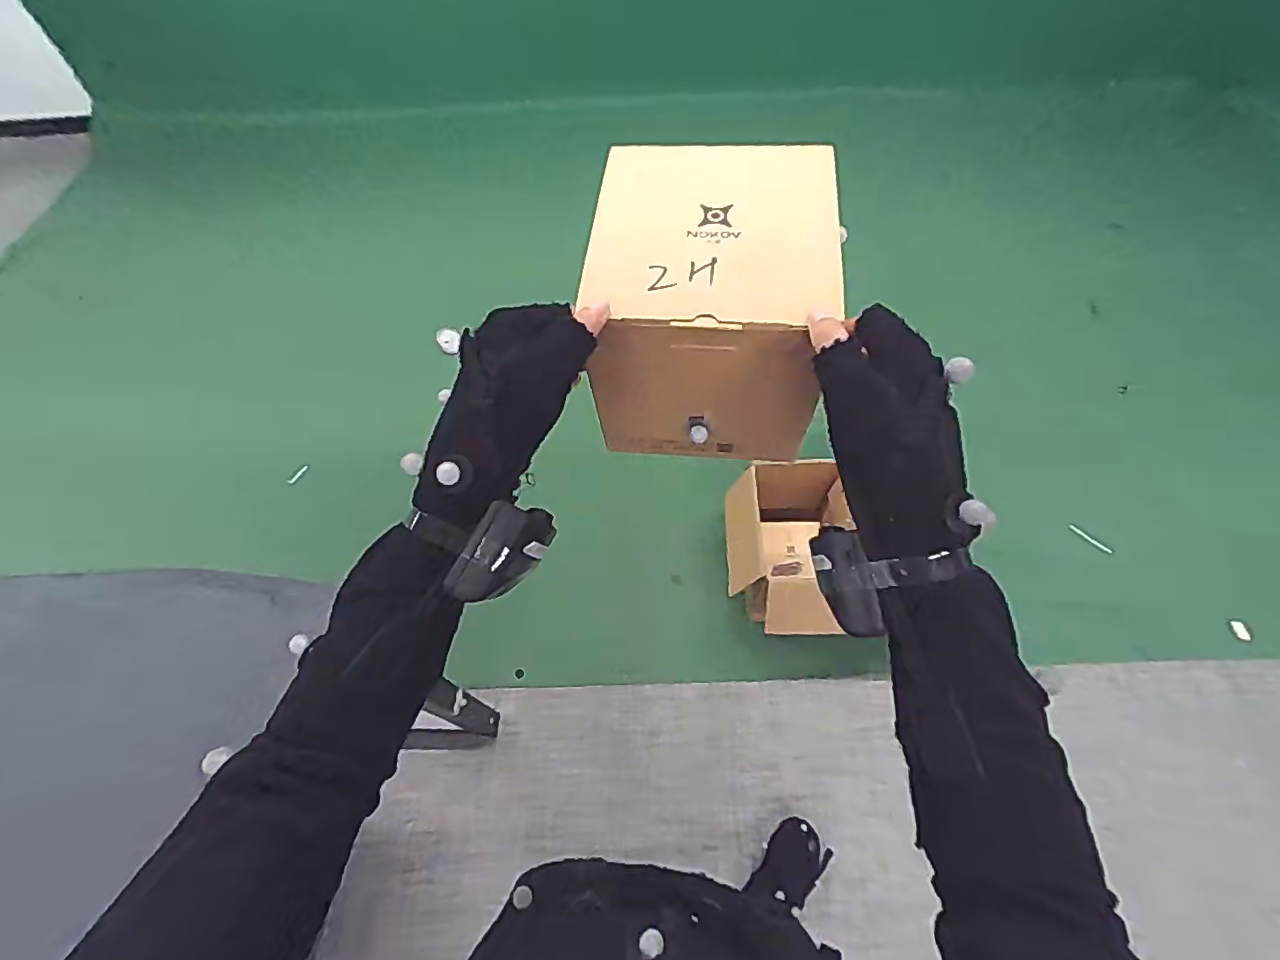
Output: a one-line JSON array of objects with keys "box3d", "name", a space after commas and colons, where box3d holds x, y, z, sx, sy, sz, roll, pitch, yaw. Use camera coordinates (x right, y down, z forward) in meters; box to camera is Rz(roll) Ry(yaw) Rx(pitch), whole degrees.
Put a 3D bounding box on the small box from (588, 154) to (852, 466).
[{"box3d": [0.063, -0.132, 0.441, 0.168, 0.176, 0.179, 4, 63, 8], "name": "small box"}]
